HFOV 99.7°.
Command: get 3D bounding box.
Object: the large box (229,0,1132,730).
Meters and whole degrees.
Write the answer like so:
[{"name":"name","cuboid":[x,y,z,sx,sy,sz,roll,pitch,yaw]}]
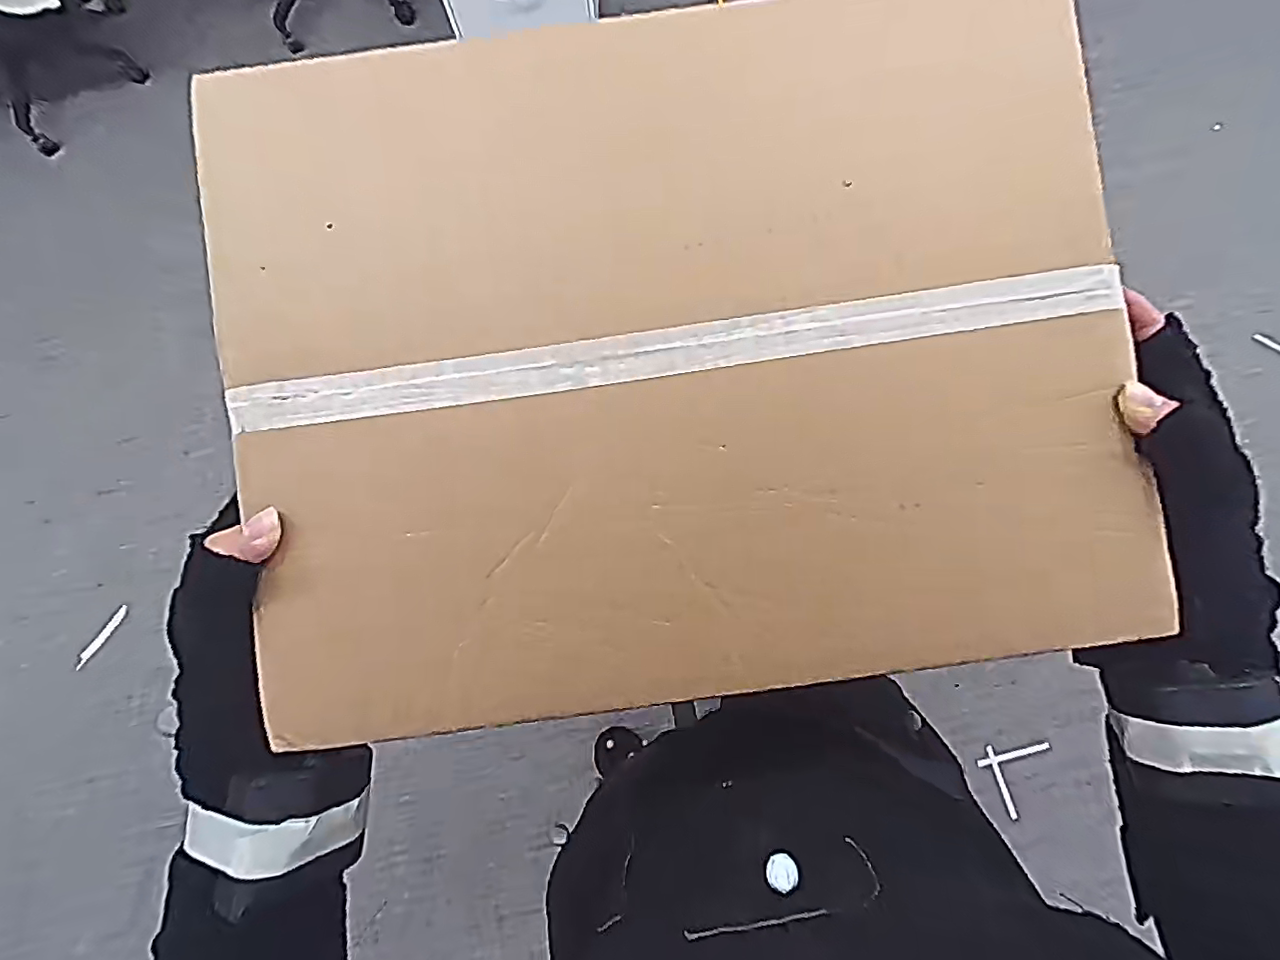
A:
[{"name":"large box","cuboid":[0.019,-0.059,0.407,0.408,0.320,0.320,-8,88,0]}]
